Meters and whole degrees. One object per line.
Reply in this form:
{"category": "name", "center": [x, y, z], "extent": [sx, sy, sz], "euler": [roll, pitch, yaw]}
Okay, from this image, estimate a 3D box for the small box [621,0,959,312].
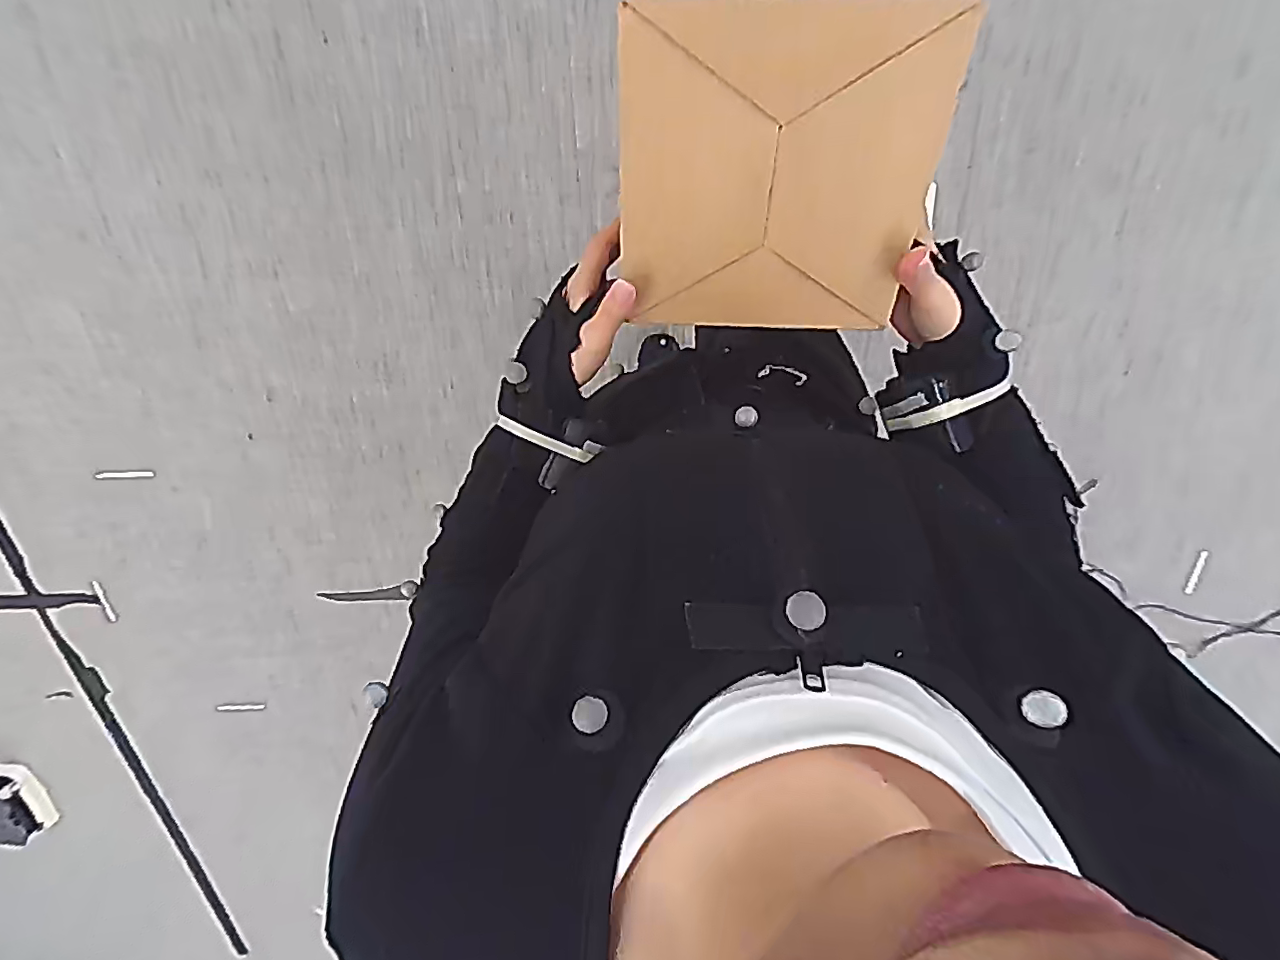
{"category": "small box", "center": [0.083, -0.223, 0.365], "extent": [0.179, 0.176, 0.168], "euler": [2, 129, 2]}
